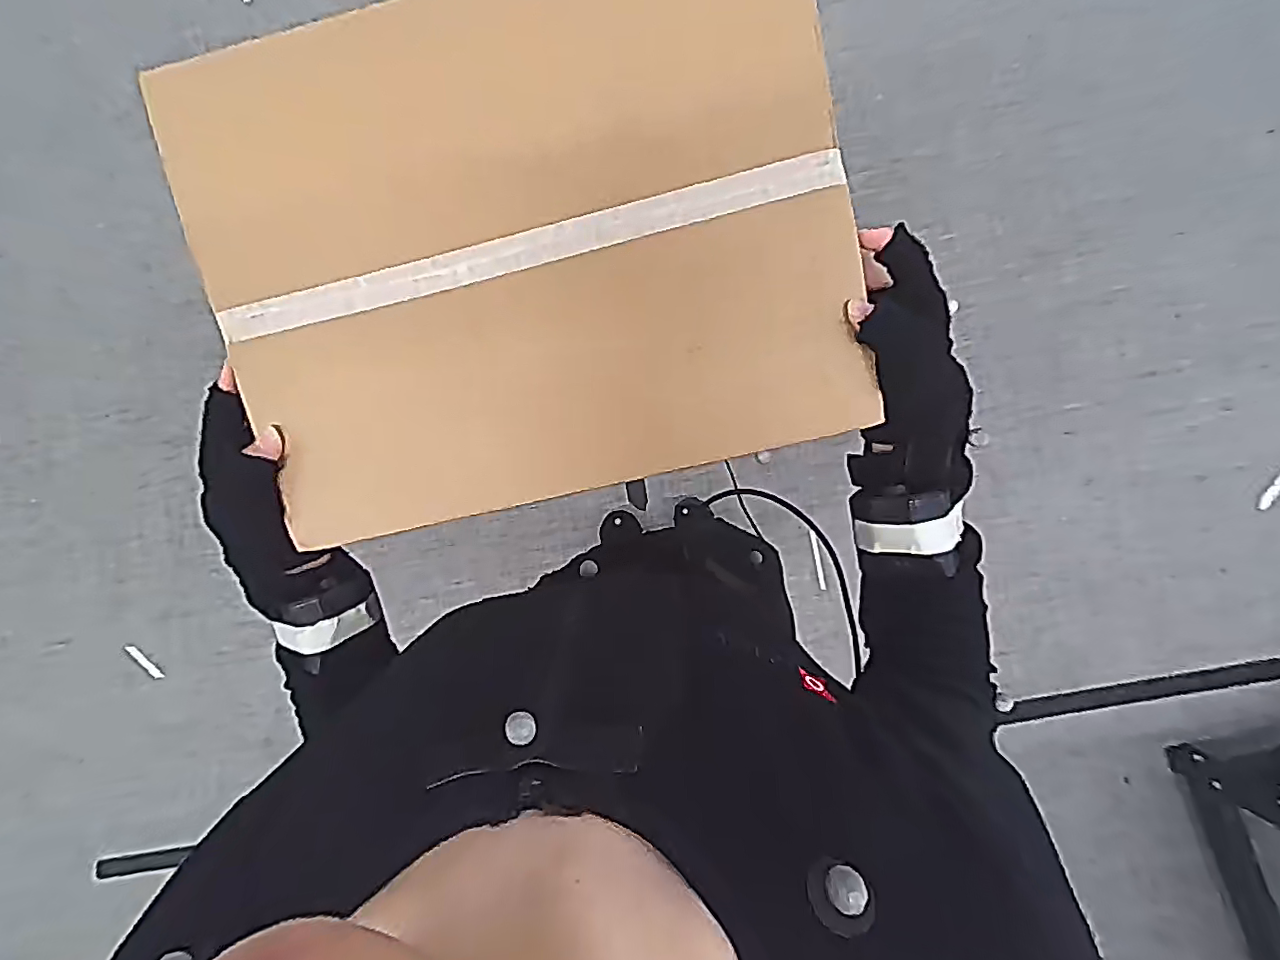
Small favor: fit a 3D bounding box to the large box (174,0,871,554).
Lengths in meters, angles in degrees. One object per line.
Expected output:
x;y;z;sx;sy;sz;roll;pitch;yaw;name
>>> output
-0.065;-0.161;0.498;0.408;0.320;0.320;-13;97;5;large box
